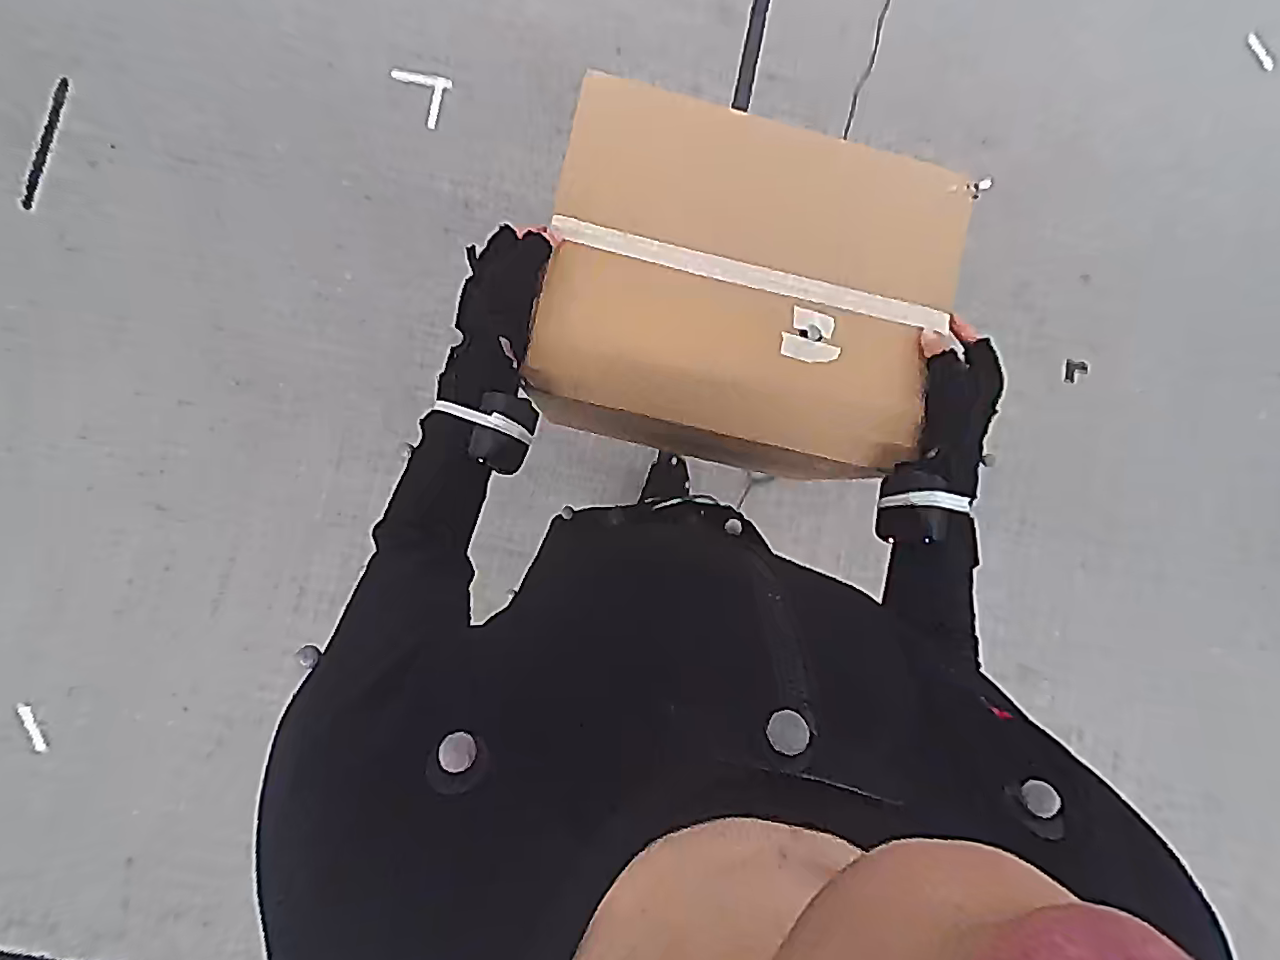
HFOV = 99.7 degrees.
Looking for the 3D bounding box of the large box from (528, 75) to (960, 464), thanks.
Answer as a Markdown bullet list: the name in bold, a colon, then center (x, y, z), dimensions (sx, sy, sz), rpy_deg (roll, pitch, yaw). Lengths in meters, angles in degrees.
- **large box**: center (0.098, -0.213, 0.694), dimensions (0.408, 0.320, 0.320), rpy_deg (13, 90, -5)
